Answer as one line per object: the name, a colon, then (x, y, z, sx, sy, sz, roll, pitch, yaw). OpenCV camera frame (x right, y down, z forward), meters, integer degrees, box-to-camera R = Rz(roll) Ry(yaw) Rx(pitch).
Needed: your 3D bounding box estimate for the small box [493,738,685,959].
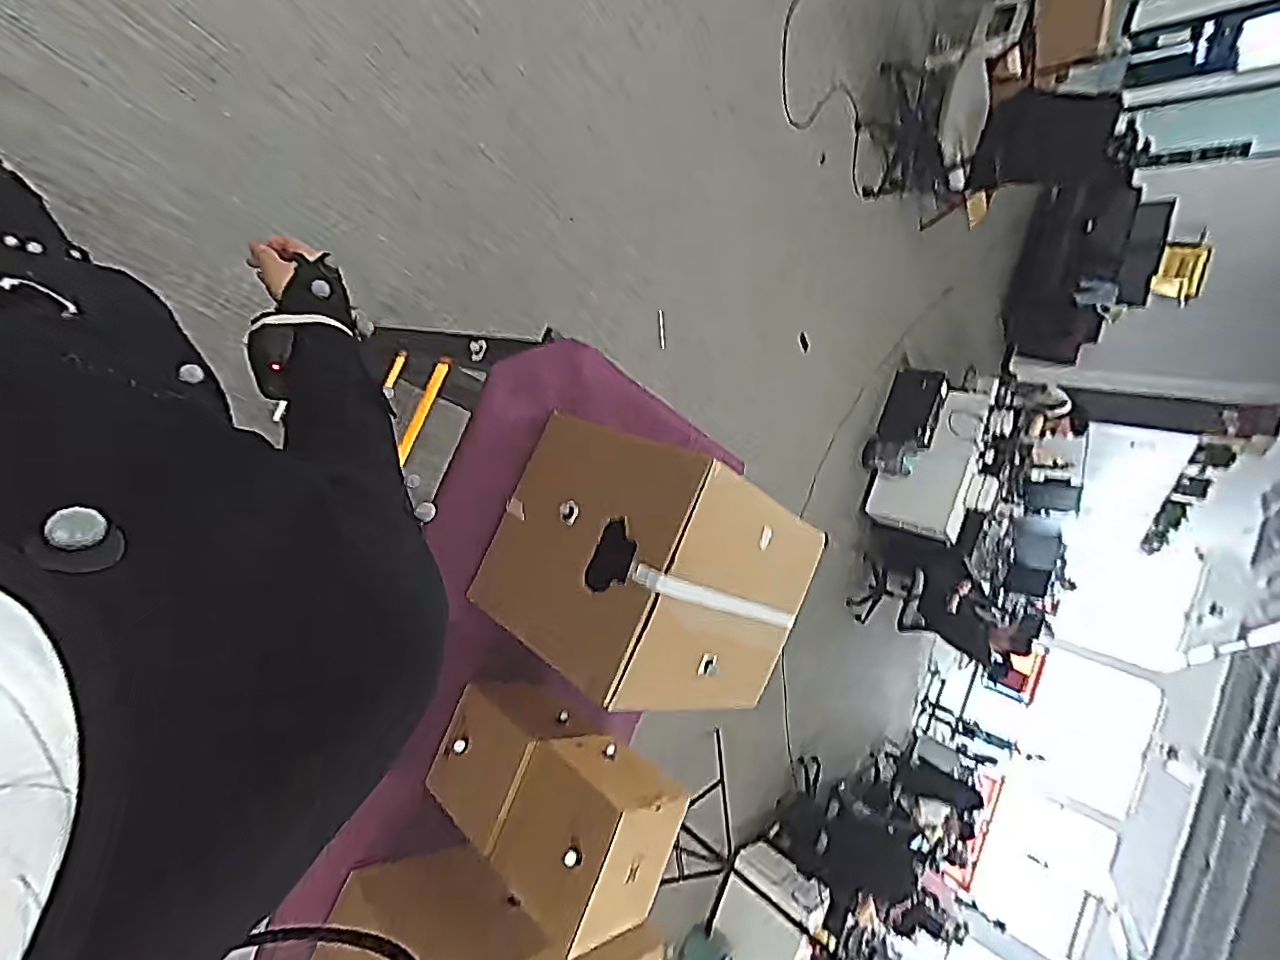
small box: (-0.073, 0.481, 0.740, 0.168, 0.176, 0.179, 30, 80, -49)

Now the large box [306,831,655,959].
large box: (-0.251, 0.781, 0.797, 0.408, 0.320, 0.320, 29, 82, -50)
